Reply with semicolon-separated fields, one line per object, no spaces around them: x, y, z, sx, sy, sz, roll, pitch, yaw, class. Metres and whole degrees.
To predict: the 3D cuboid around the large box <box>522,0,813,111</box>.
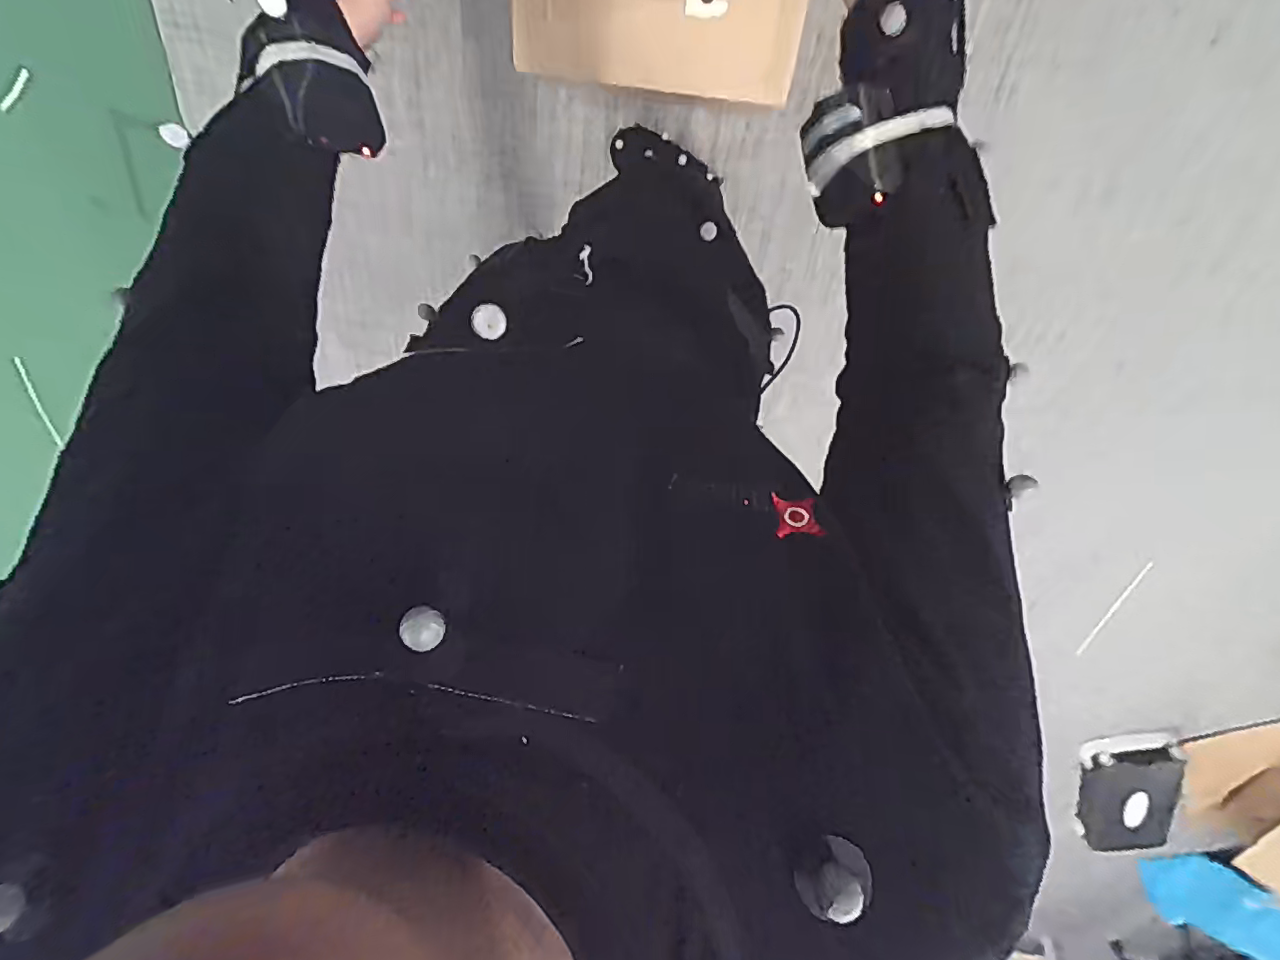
0.046;-0.779;0.832;0.408;0.320;0.320;7;124;-1;large box
